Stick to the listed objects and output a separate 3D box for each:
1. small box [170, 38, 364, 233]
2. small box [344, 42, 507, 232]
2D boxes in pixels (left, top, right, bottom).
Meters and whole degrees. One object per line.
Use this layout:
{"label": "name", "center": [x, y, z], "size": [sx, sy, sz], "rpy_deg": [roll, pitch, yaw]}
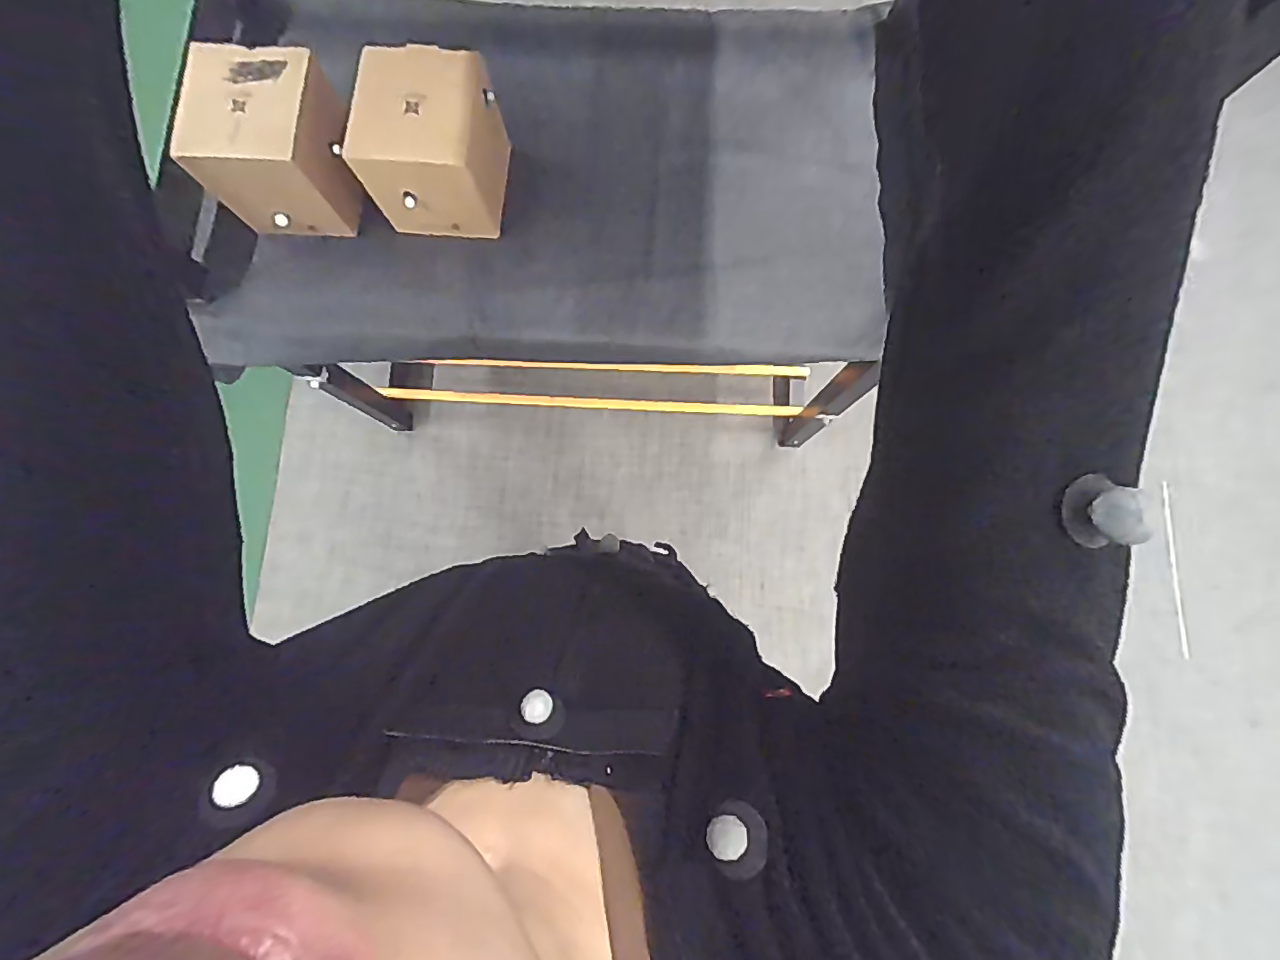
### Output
{"label": "small box", "center": [-0.531, -0.499, 0.801], "size": [0.168, 0.176, 0.179], "rpy_deg": [3, 81, 0]}
{"label": "small box", "center": [-0.304, -0.495, 0.803], "size": [0.168, 0.176, 0.179], "rpy_deg": [4, 80, 0]}
